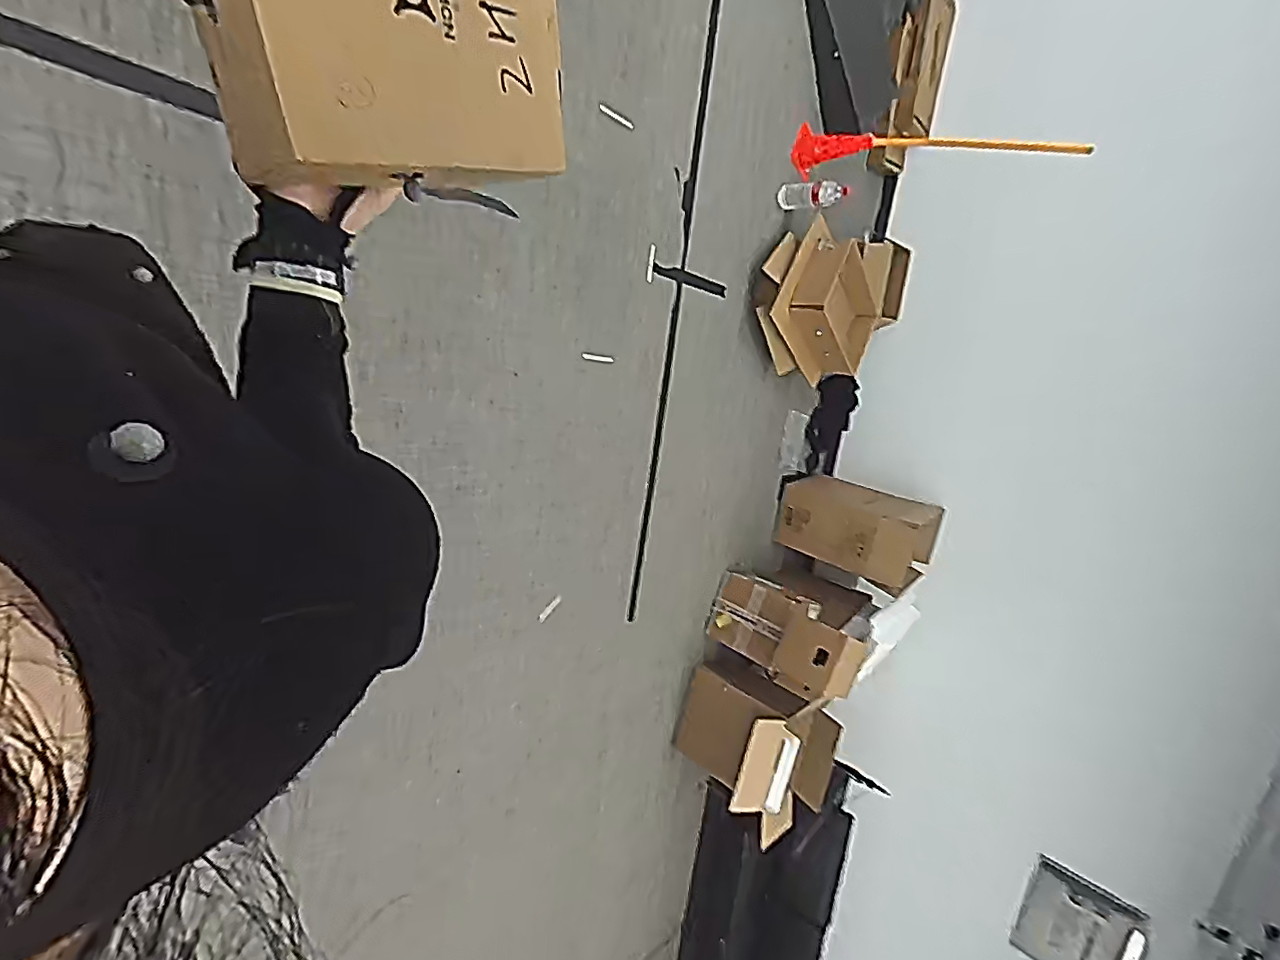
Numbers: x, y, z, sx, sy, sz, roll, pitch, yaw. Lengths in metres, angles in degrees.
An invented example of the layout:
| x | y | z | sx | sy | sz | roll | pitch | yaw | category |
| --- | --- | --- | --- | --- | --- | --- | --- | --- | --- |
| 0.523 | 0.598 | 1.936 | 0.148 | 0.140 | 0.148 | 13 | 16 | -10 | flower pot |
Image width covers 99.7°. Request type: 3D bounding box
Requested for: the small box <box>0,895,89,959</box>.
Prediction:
| x | y | z | sx | sy | sz | roll | pitch | yaw | category |
| --- | --- | --- | --- | --- | --- | --- | --- | --- | --- |
| -0.915 | 0.749 | 0.772 | 0.168 | 0.176 | 0.179 | 1 | 103 | -49 | small box |

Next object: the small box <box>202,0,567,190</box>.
| x | y | z | sx | sy | sz | roll | pitch | yaw | category |
| --- | --- | --- | --- | --- | --- | --- | --- | --- | --- |
| -0.172 | -0.291 | 0.359 | 0.179 | 0.176 | 0.168 | -23 | 123 | -37 | small box |
